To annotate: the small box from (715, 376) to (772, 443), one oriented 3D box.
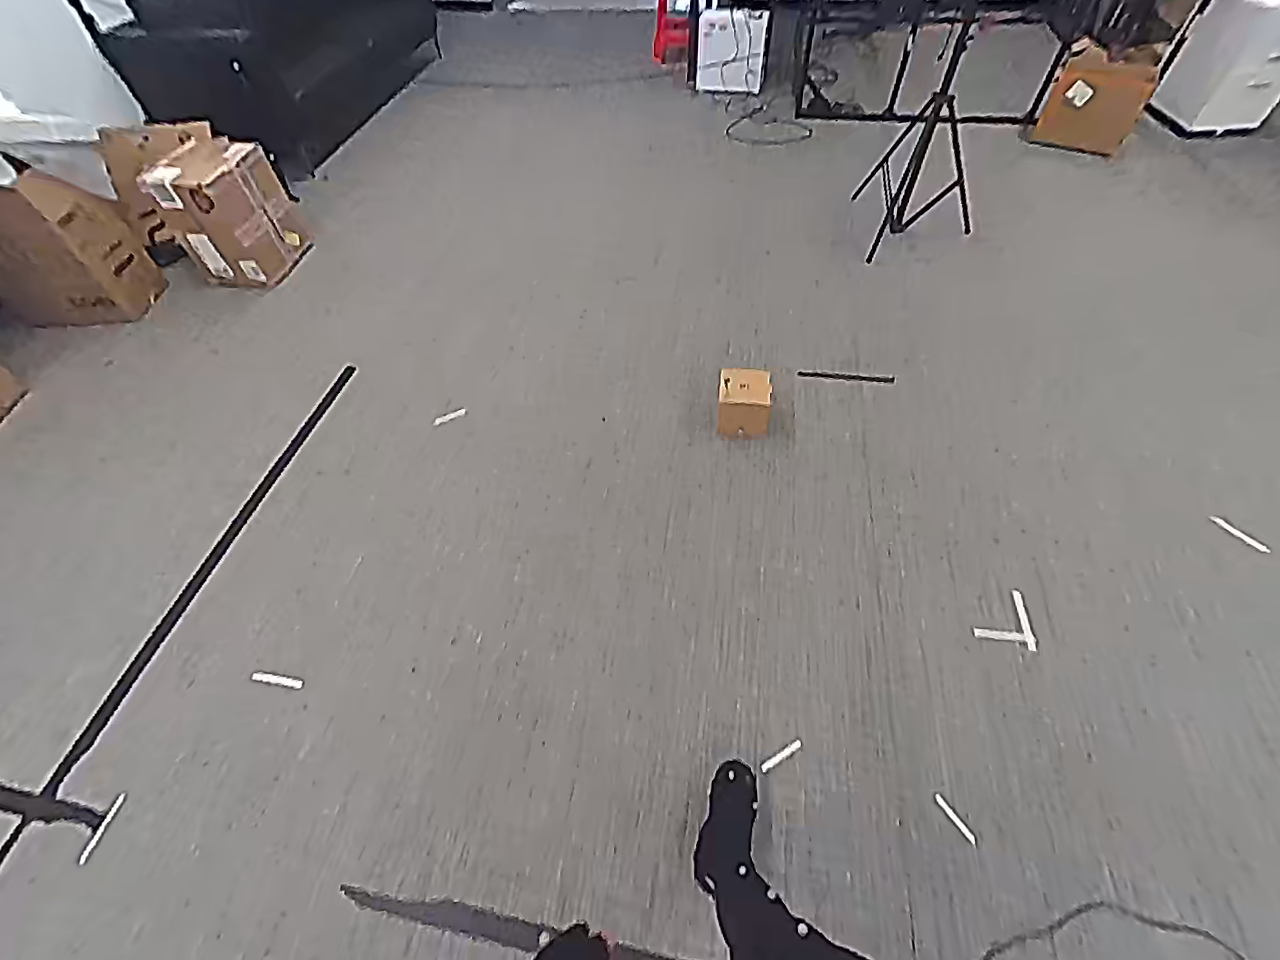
[{"bbox_3d":[0.369,-0.250,1.932,0.179,0.176,0.168,5,54,7],"label":"small box"}]
